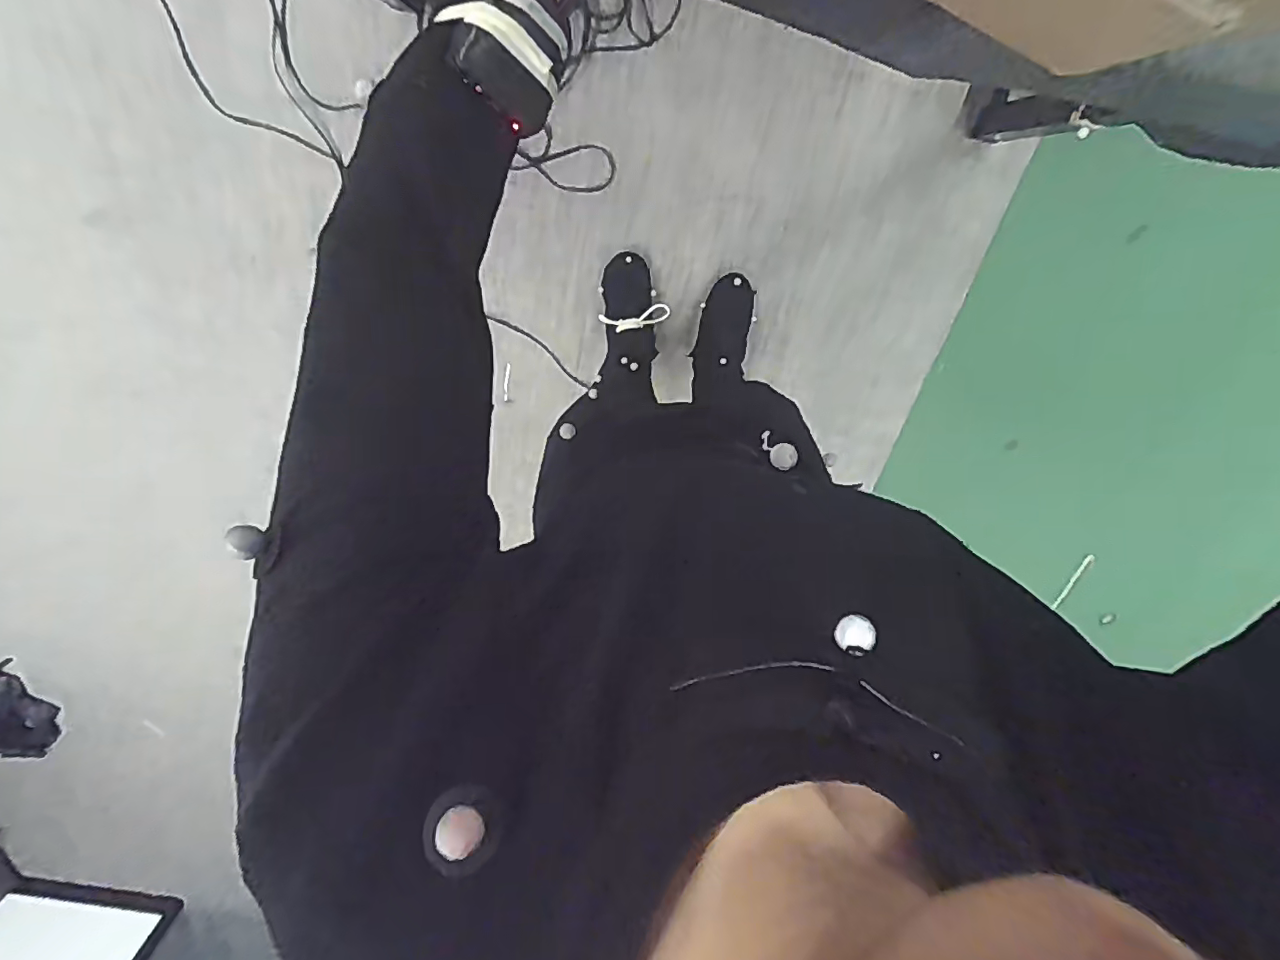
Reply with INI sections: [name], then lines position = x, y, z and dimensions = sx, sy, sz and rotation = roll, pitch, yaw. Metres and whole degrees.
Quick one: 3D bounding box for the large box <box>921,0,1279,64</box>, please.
[large box]
position = 0.151, -0.402, 0.156
dimensions = 0.408, 0.320, 0.320
rotation = 23, 119, -5
